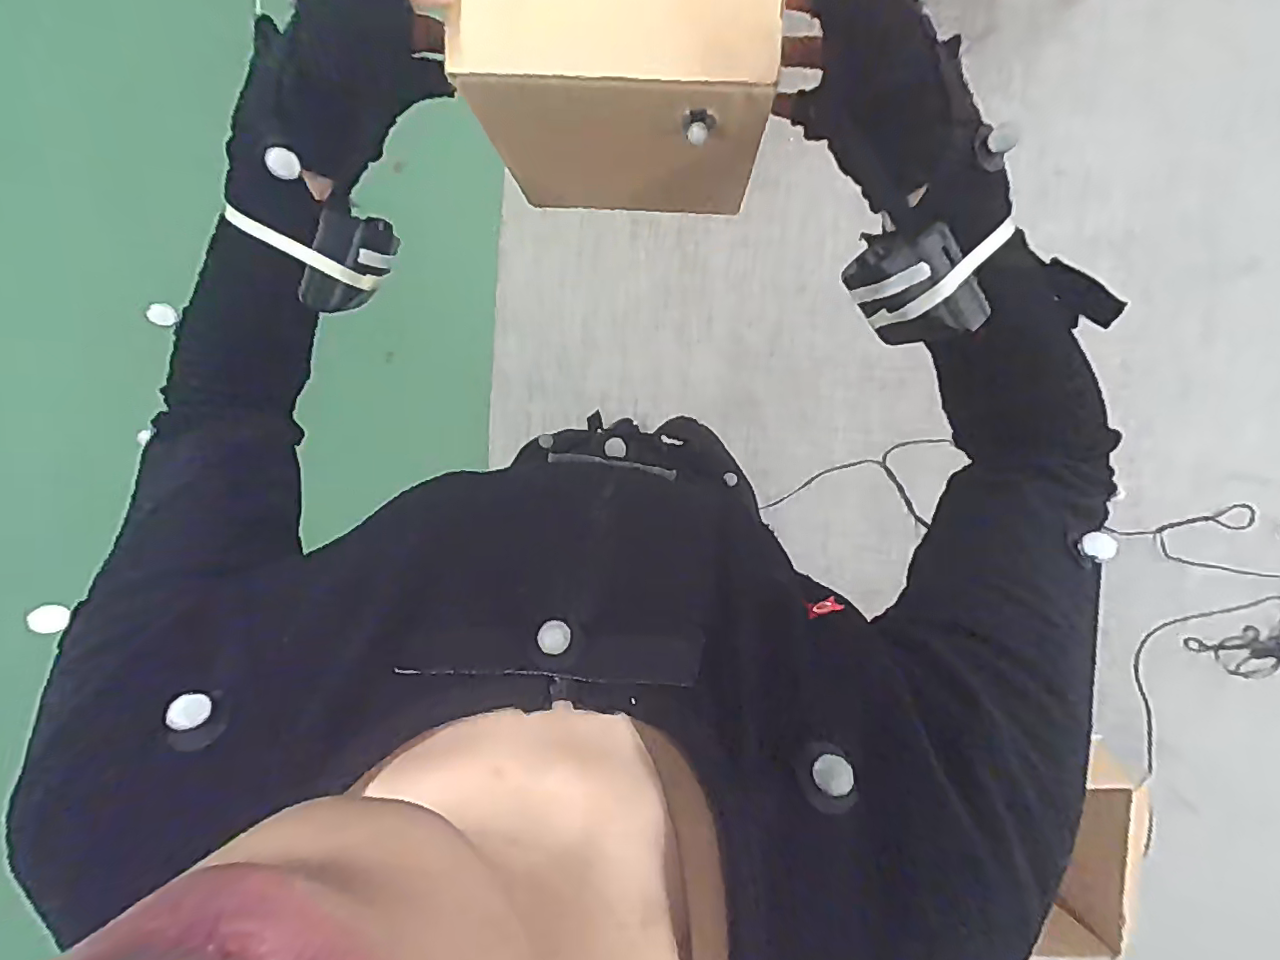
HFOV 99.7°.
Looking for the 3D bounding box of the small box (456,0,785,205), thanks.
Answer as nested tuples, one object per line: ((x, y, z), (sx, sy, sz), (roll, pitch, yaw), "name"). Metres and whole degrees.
((-0.005, -0.303, 0.360), (0.179, 0.176, 0.168), (3, 95, 2), "small box")
